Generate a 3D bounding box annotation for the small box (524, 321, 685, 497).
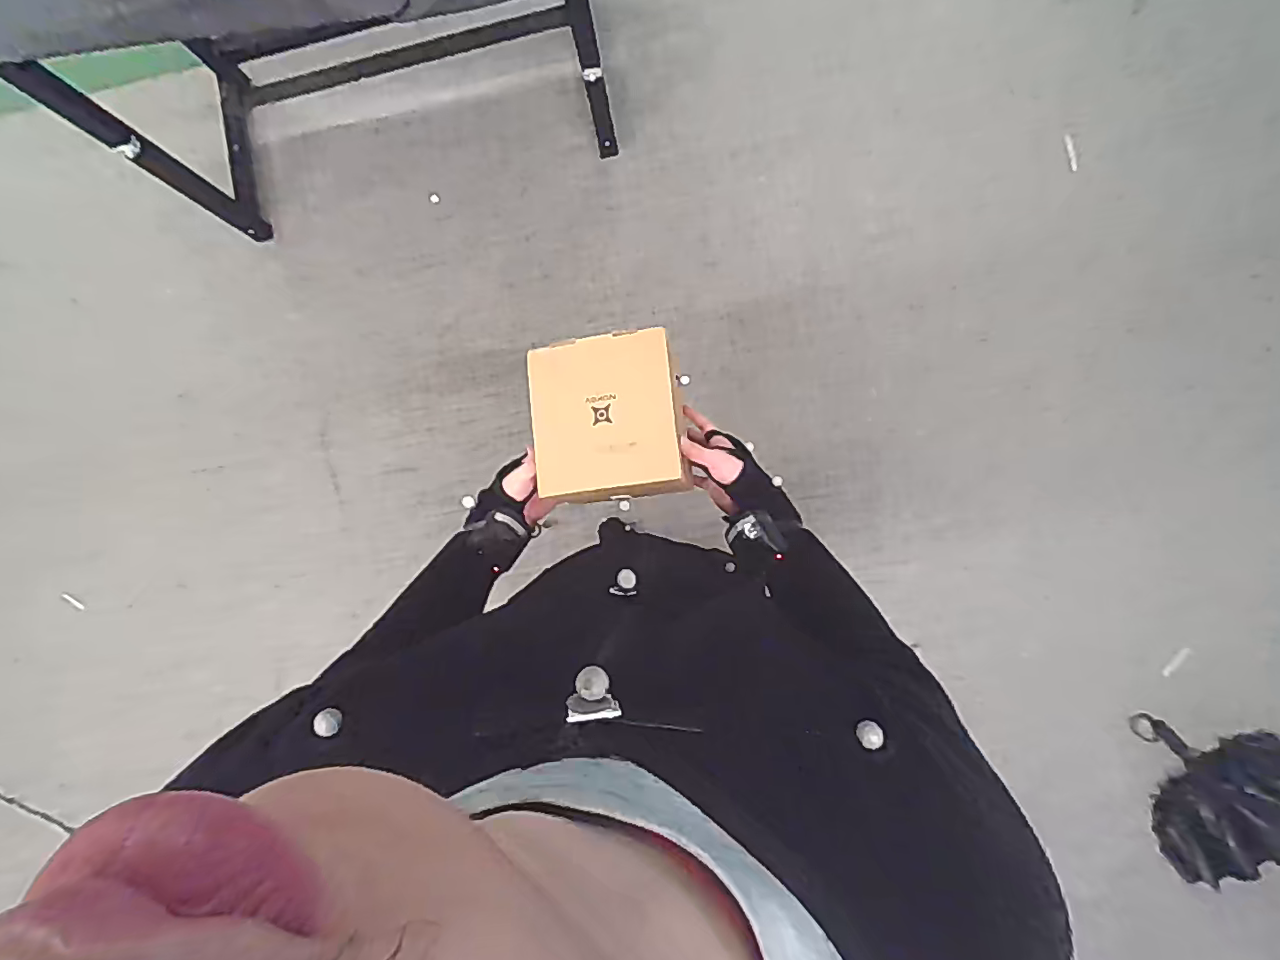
[{"bbox_3d":[-0.037,-0.077,0.685,0.168,0.176,0.179,-6,84,9],"label":"small box"}]
